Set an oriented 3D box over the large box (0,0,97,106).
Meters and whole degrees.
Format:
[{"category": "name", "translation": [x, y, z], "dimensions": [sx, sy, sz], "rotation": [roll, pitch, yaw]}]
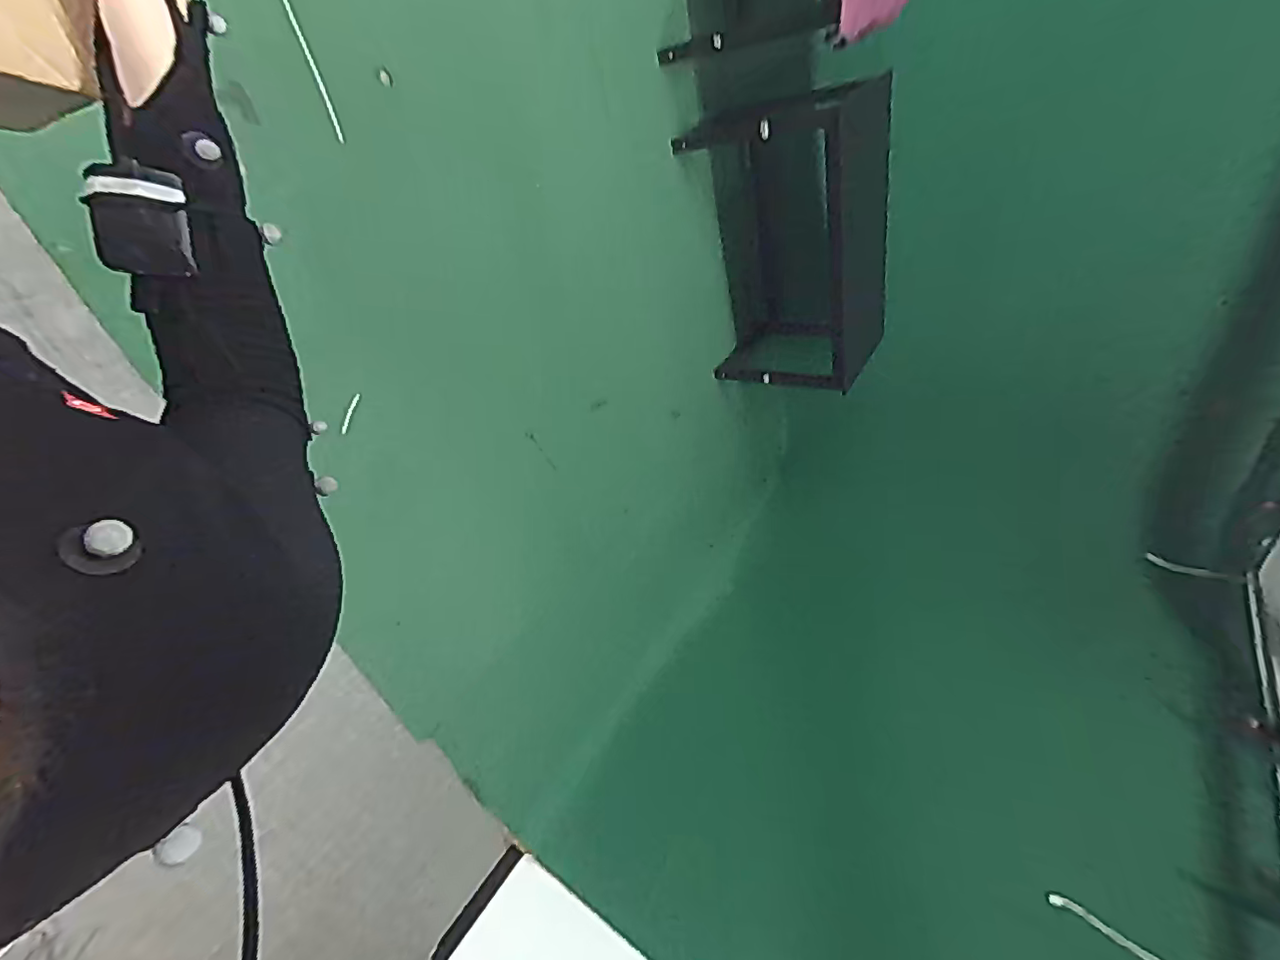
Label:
[{"category": "large box", "translation": [-0.565, -0.409, 0.223], "dimensions": [0.408, 0.320, 0.320], "rotation": [-17, 121, -52]}]
